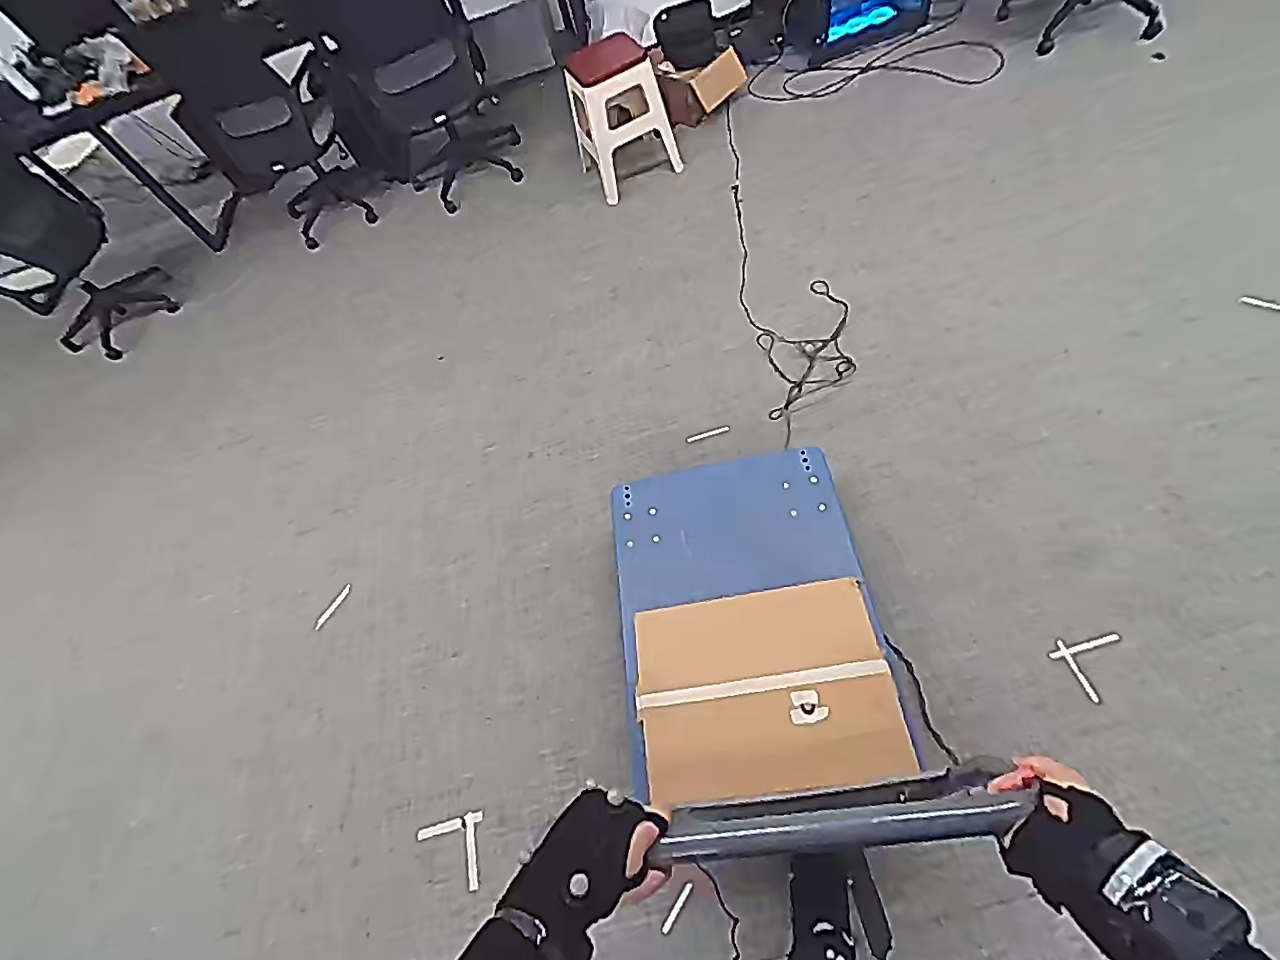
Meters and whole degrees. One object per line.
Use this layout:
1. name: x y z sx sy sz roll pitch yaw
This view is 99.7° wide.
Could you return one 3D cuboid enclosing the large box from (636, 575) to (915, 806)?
1. large box: 0.231 0.413 1.026 0.408 0.320 0.320 -12 58 7
